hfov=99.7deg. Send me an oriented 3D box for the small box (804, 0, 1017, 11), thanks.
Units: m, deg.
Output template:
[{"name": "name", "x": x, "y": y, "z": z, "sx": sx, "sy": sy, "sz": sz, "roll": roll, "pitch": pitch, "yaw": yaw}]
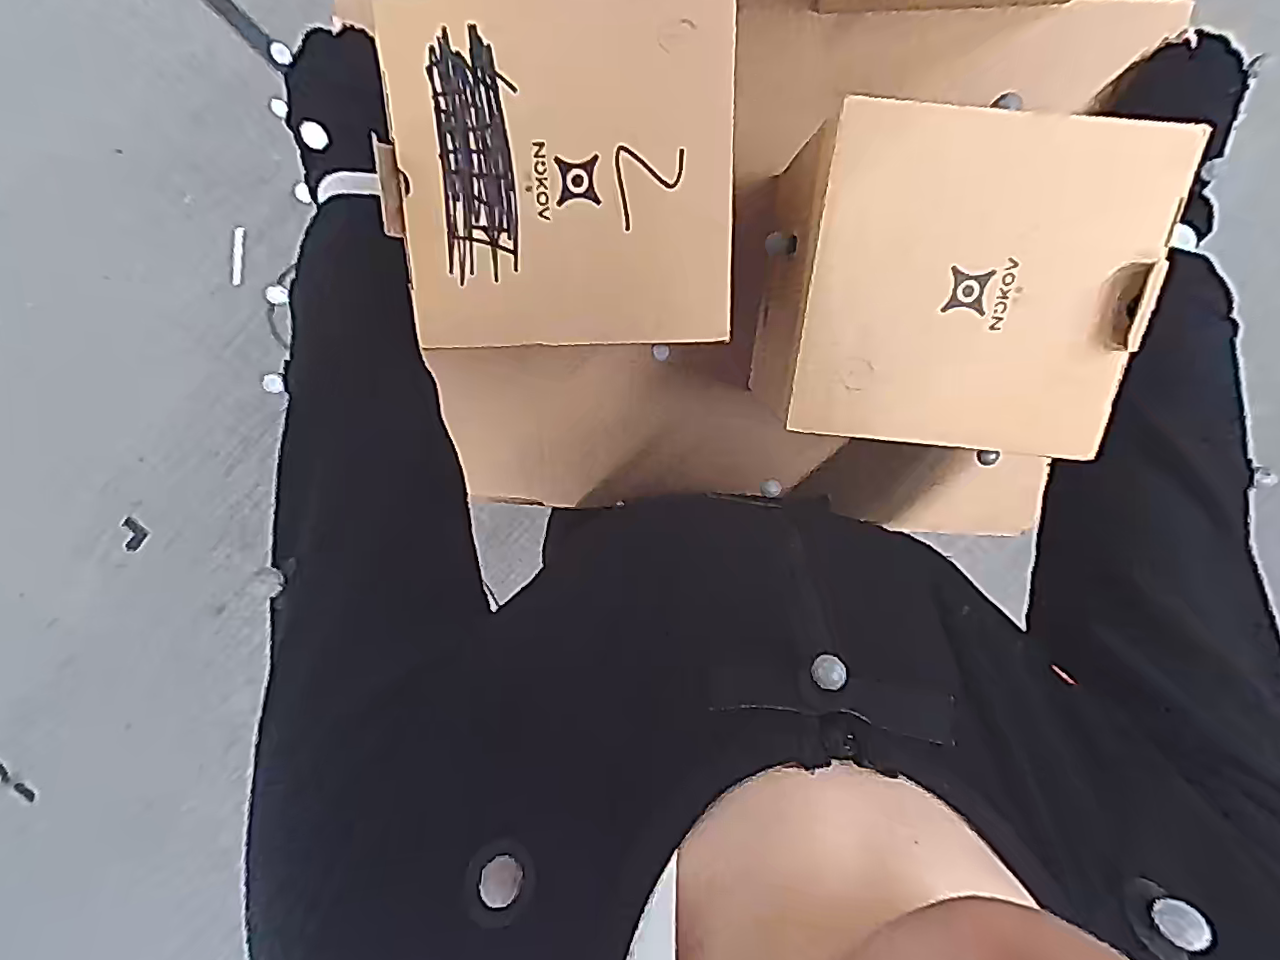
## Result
[{"name": "small box", "x": 0.195, "y": -0.390, "z": 0.284, "sx": 0.179, "sy": 0.176, "sz": 0.168, "roll": 1, "pitch": 104, "yaw": 4}]
